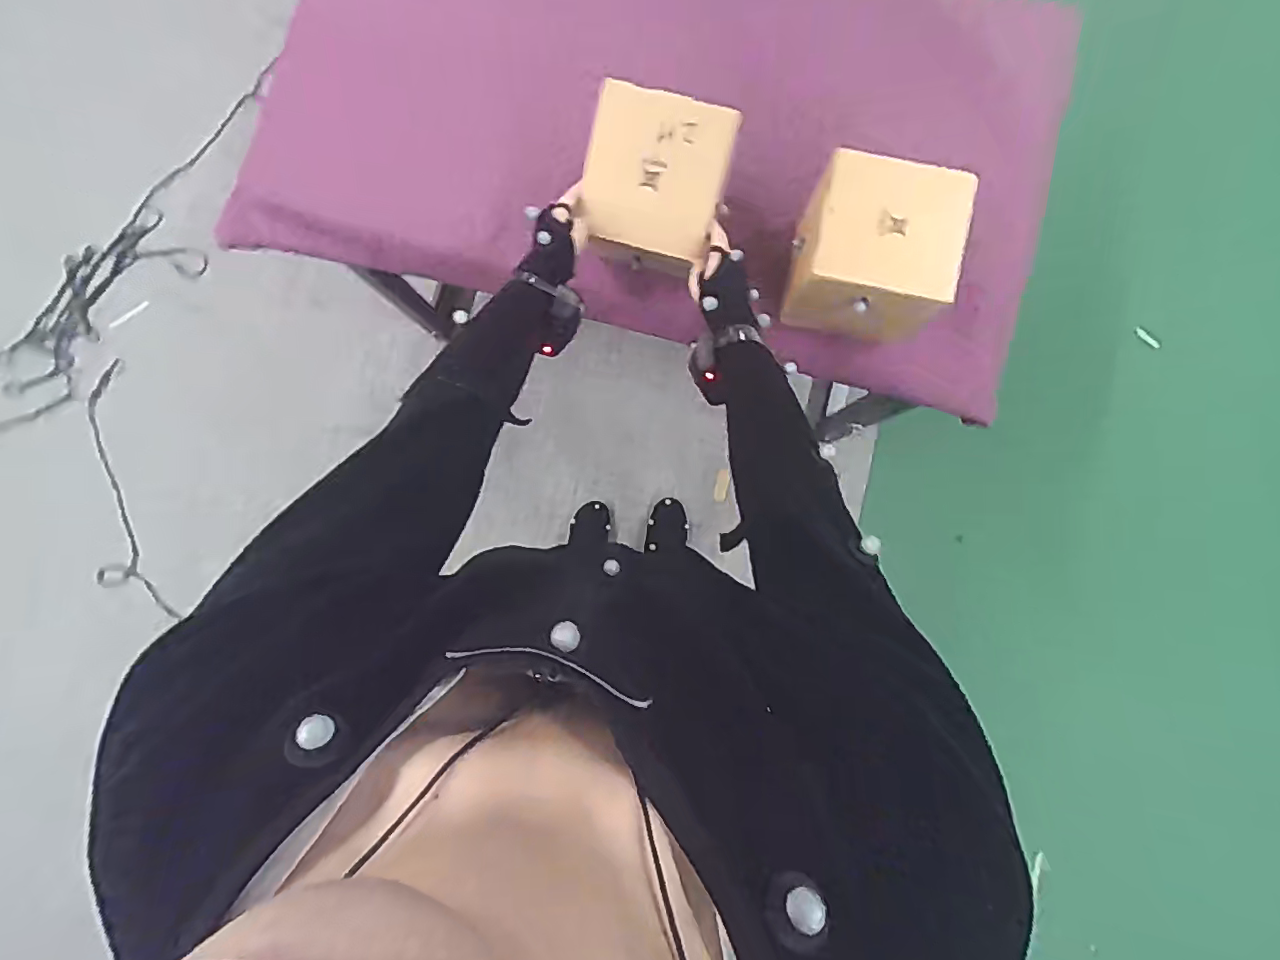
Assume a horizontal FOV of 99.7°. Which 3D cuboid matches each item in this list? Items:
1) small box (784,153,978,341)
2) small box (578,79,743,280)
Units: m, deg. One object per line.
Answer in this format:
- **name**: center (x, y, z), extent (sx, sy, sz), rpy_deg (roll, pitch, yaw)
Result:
- **small box**: center (0.316, -0.304, 0.743), extent (0.179, 0.176, 0.168), rpy_deg (13, 87, 3)
- **small box**: center (0.030, -0.387, 0.733), extent (0.168, 0.176, 0.179), rpy_deg (17, 103, 2)
